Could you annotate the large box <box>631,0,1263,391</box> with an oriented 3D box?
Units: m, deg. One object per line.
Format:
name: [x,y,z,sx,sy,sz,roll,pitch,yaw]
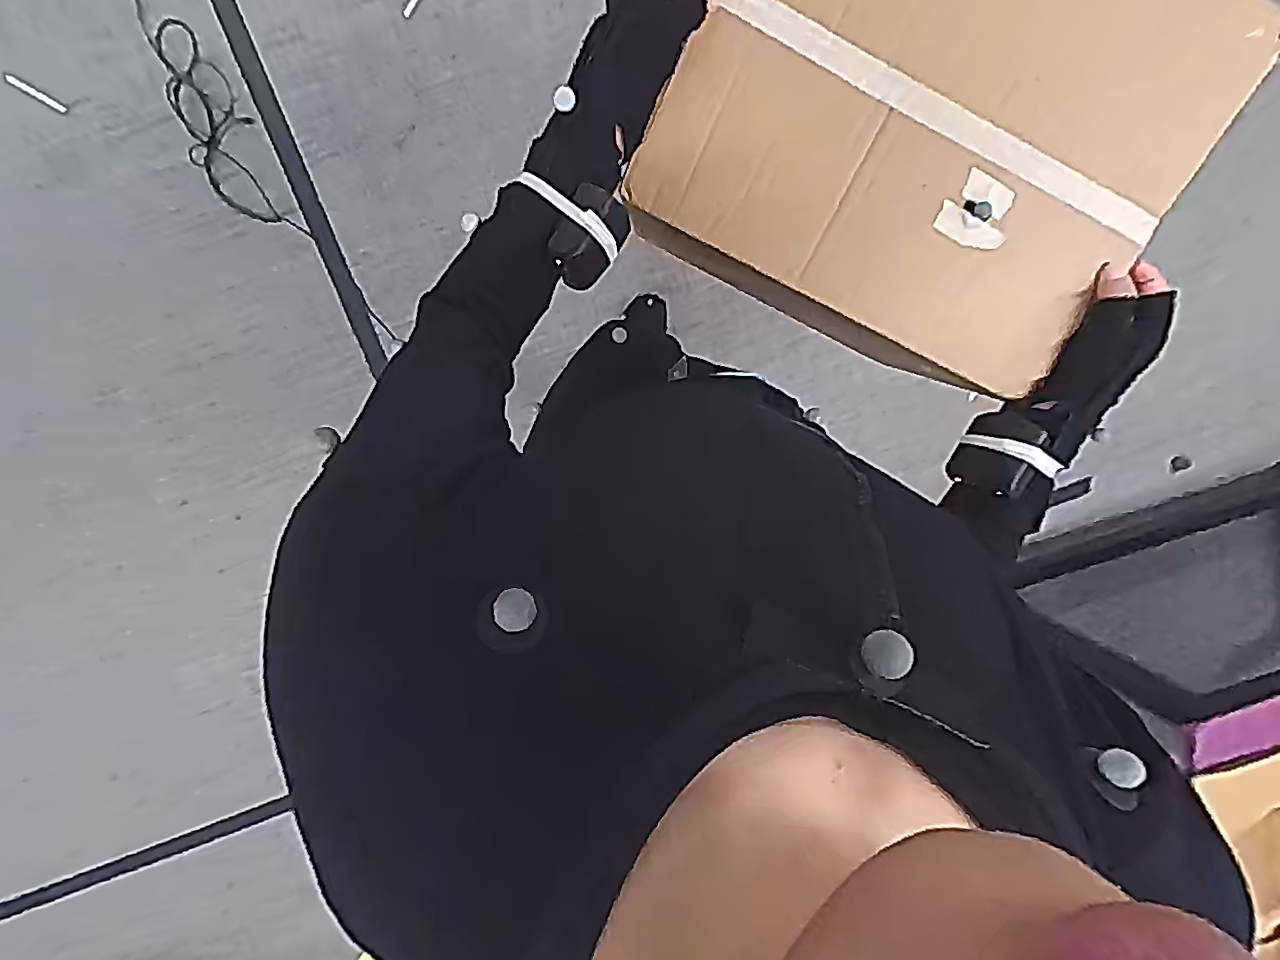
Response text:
large box: [0.233,-0.337,0.572,0.408,0.320,0.320,25,109,-7]
